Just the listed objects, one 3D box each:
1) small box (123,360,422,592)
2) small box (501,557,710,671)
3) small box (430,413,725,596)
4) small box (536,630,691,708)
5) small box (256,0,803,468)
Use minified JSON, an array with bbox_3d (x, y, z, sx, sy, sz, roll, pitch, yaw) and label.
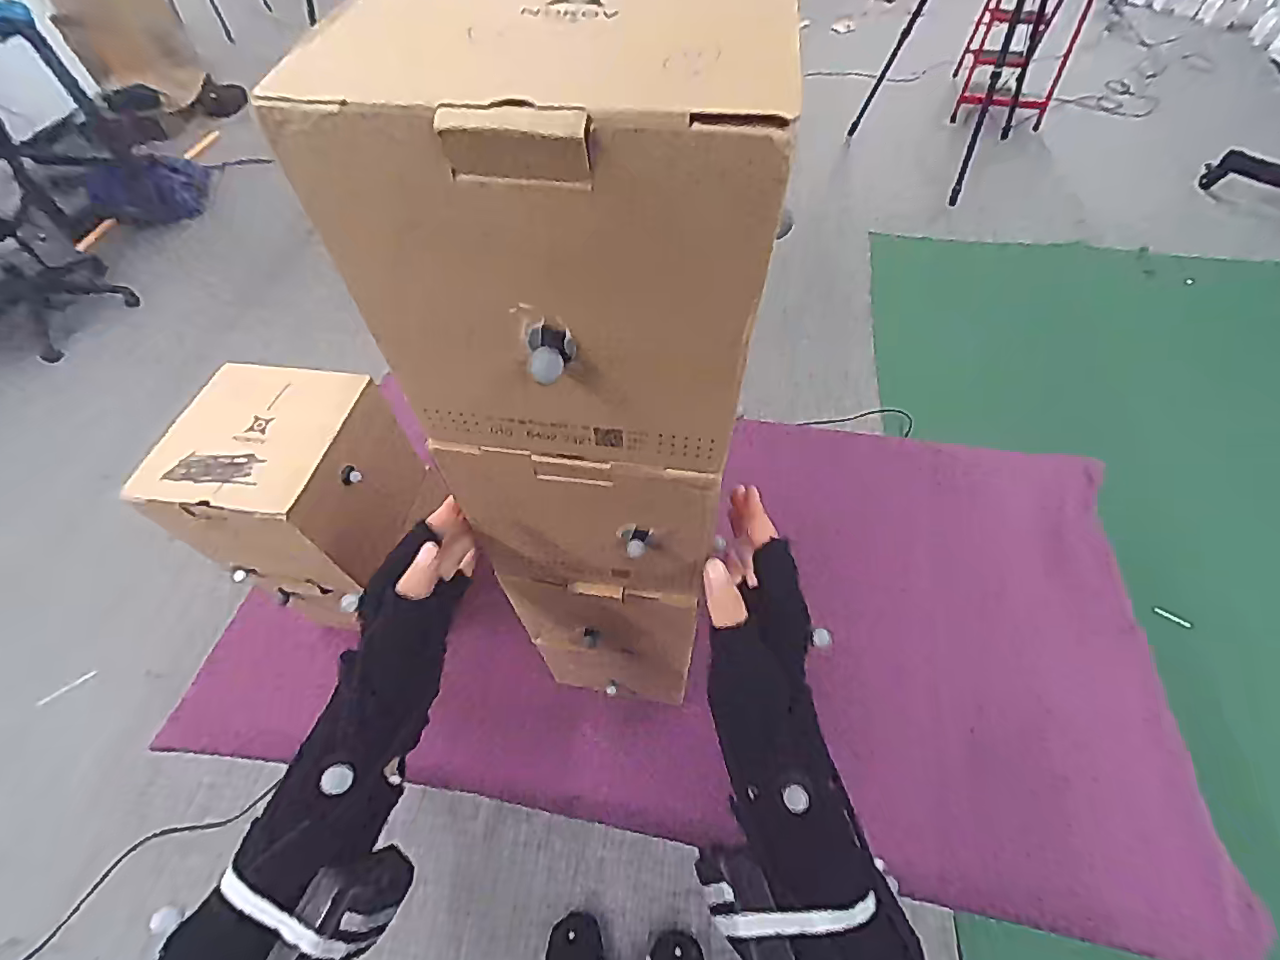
[{"bbox_3d":[-0.362,0.002,0.579,0.168,0.176,0.179,10,57,6],"label":"small box"},{"bbox_3d":[-0.016,0.066,0.530,0.168,0.176,0.179,8,57,7],"label":"small box"},{"bbox_3d":[-0.021,-0.030,0.399,0.168,0.176,0.179,7,56,5],"label":"small box"},{"bbox_3d":[-0.012,0.159,0.664,0.168,0.176,0.179,9,56,8],"label":"small box"},{"bbox_3d":[-0.022,-0.125,0.264,0.168,0.176,0.179,7,58,5],"label":"small box"}]
